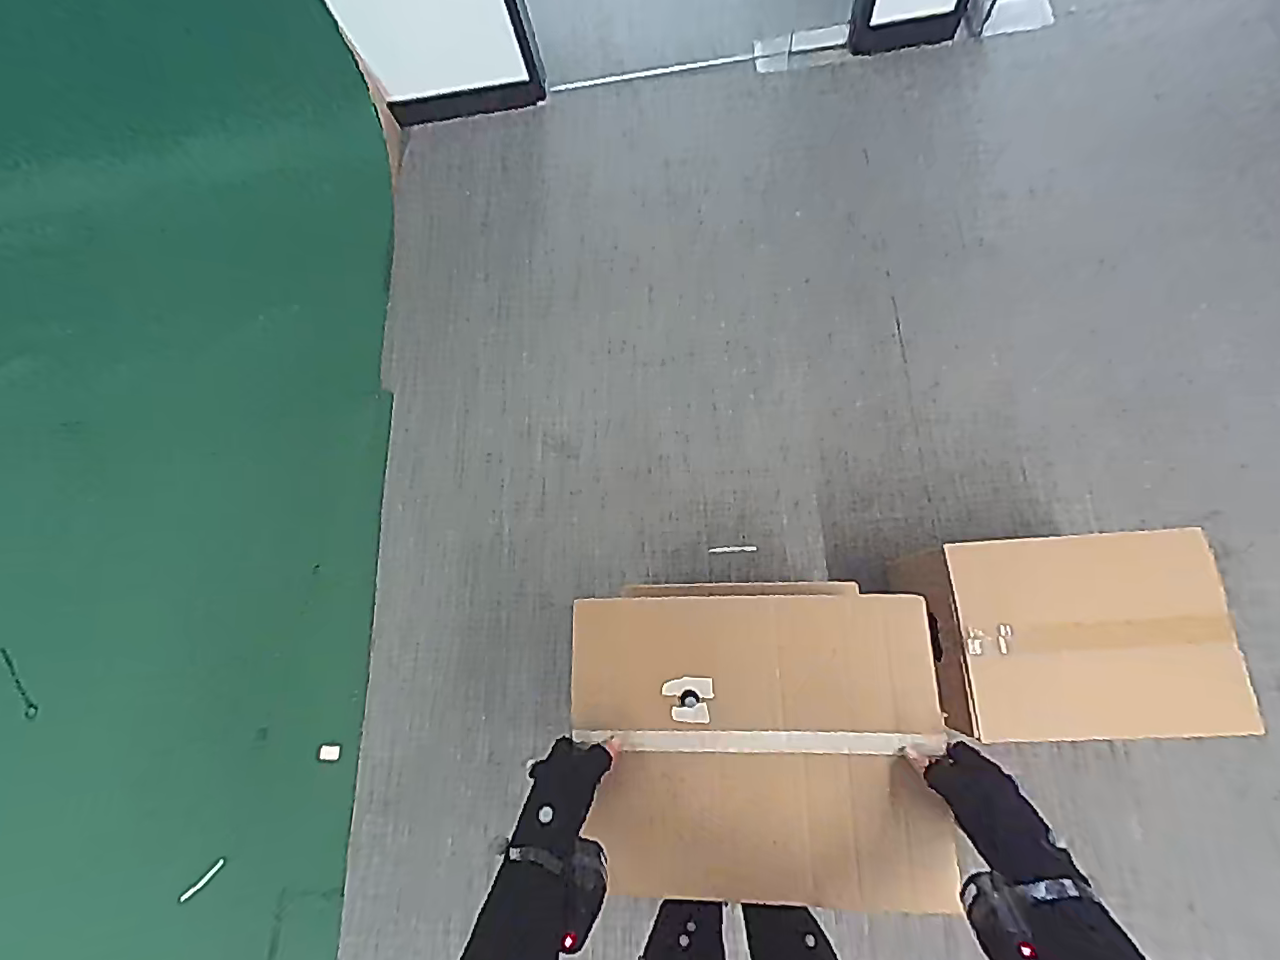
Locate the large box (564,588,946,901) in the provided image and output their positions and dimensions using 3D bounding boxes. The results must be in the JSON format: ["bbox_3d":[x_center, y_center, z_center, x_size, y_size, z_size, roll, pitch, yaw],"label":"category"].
[{"bbox_3d":[0.132,0.313,0.743,0.408,0.320,0.320,-2,77,8],"label":"large box"}]
